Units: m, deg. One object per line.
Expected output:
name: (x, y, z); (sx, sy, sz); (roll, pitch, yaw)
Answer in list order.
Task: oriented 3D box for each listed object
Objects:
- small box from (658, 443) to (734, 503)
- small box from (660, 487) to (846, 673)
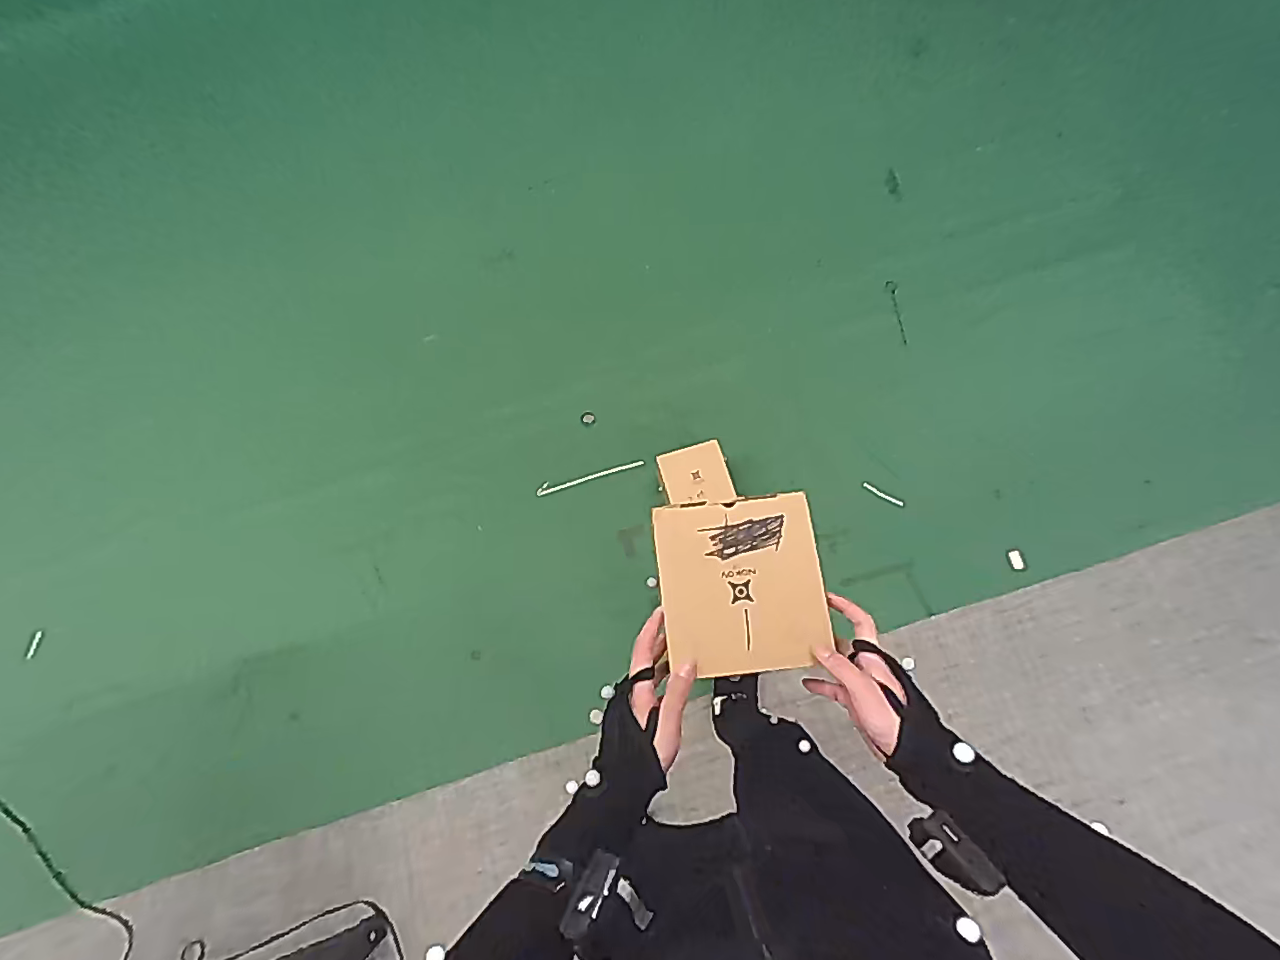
small box: (0.146, 0.026, 1.448); (0.168, 0.176, 0.179); (-16, 75, -2)
small box: (0.113, 0.119, 0.622); (0.168, 0.176, 0.179); (-6, 75, 0)
